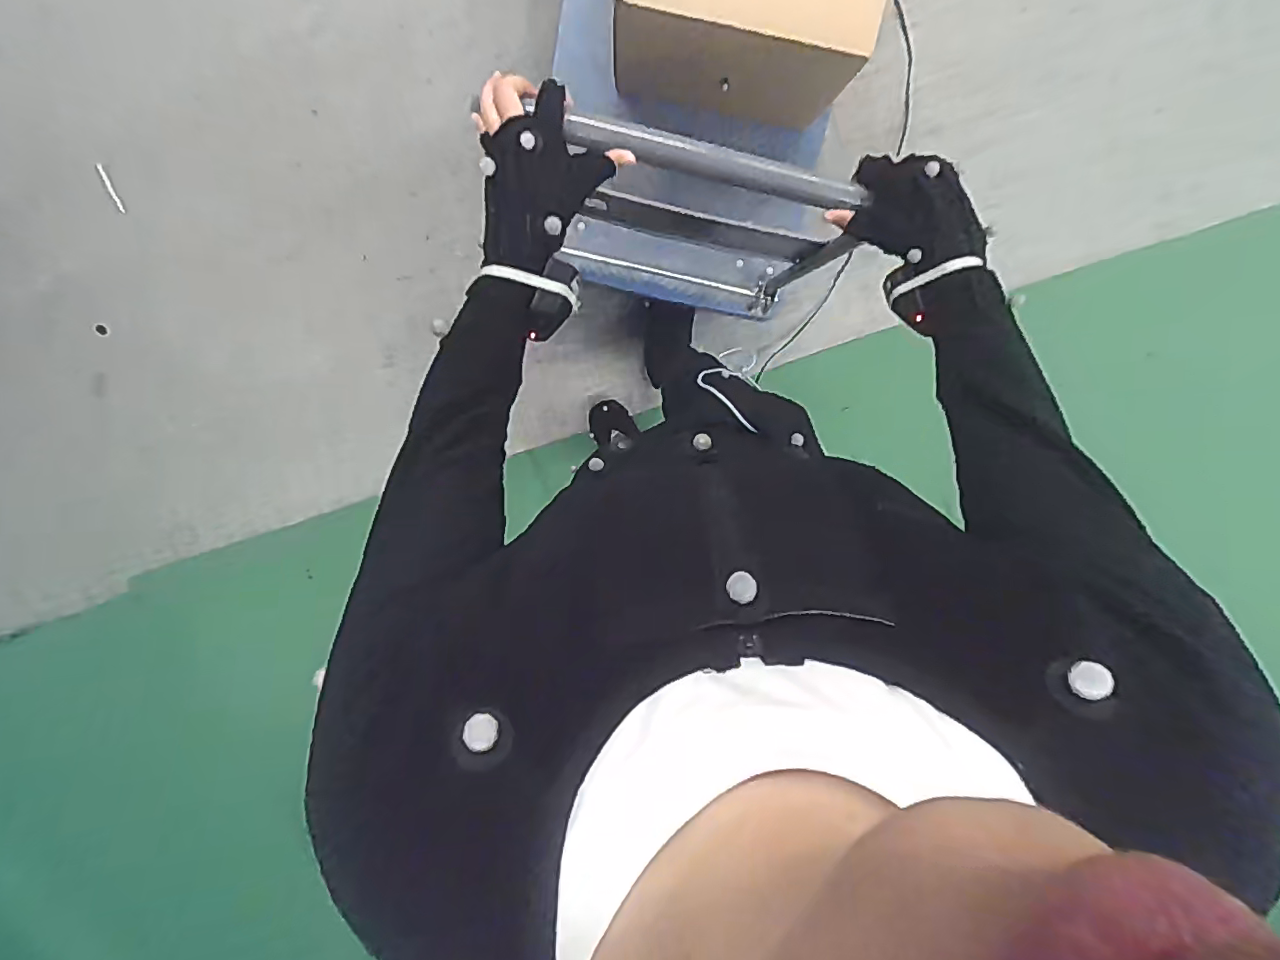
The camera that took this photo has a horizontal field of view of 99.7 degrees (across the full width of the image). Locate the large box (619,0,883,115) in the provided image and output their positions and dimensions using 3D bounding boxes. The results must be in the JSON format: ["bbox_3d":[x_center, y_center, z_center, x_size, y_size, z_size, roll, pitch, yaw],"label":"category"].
[{"bbox_3d":[0.184,-0.880,0.926,0.408,0.320,0.320,8,104,-3],"label":"large box"}]
